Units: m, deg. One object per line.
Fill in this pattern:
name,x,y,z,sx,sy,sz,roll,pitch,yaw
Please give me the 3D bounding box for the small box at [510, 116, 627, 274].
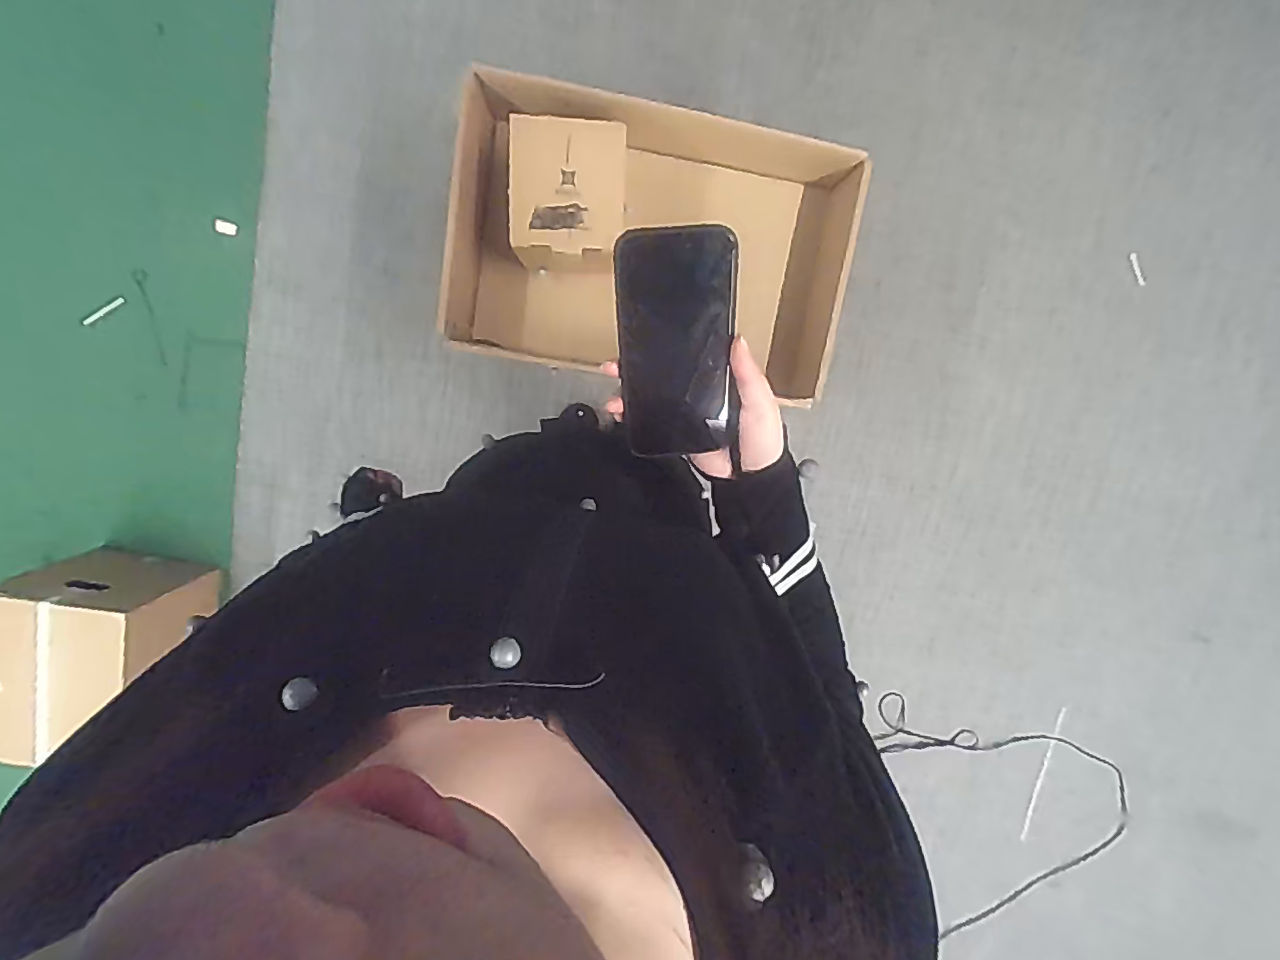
small box,-0.107,-0.432,0.850,0.168,0.176,0.179,2,99,-4
